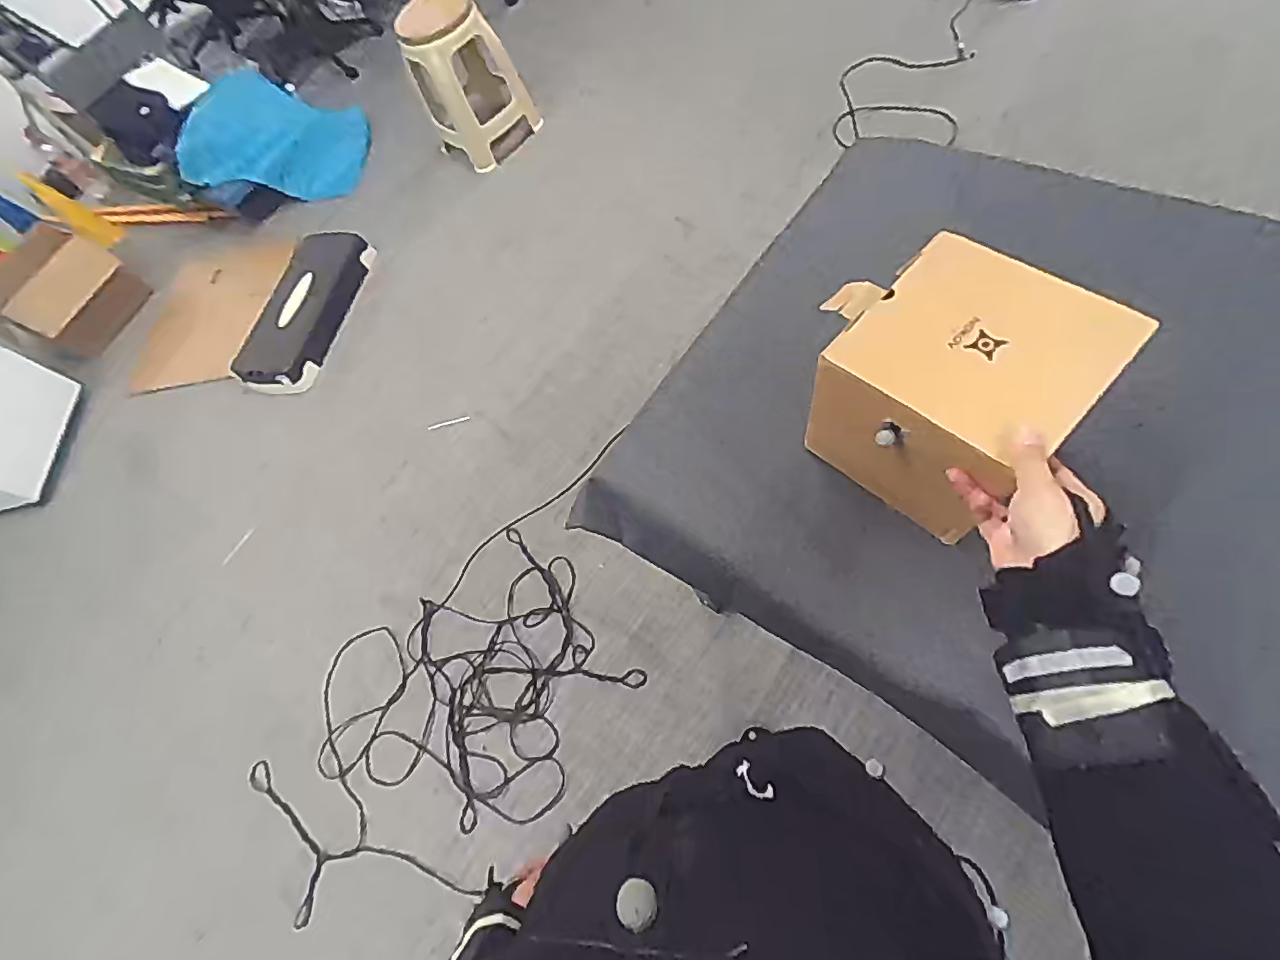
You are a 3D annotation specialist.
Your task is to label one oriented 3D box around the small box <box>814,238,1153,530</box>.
[{"bbox_3d":[0.283,-0.074,0.496,0.168,0.176,0.179,-45,64,-10],"label":"small box"}]
